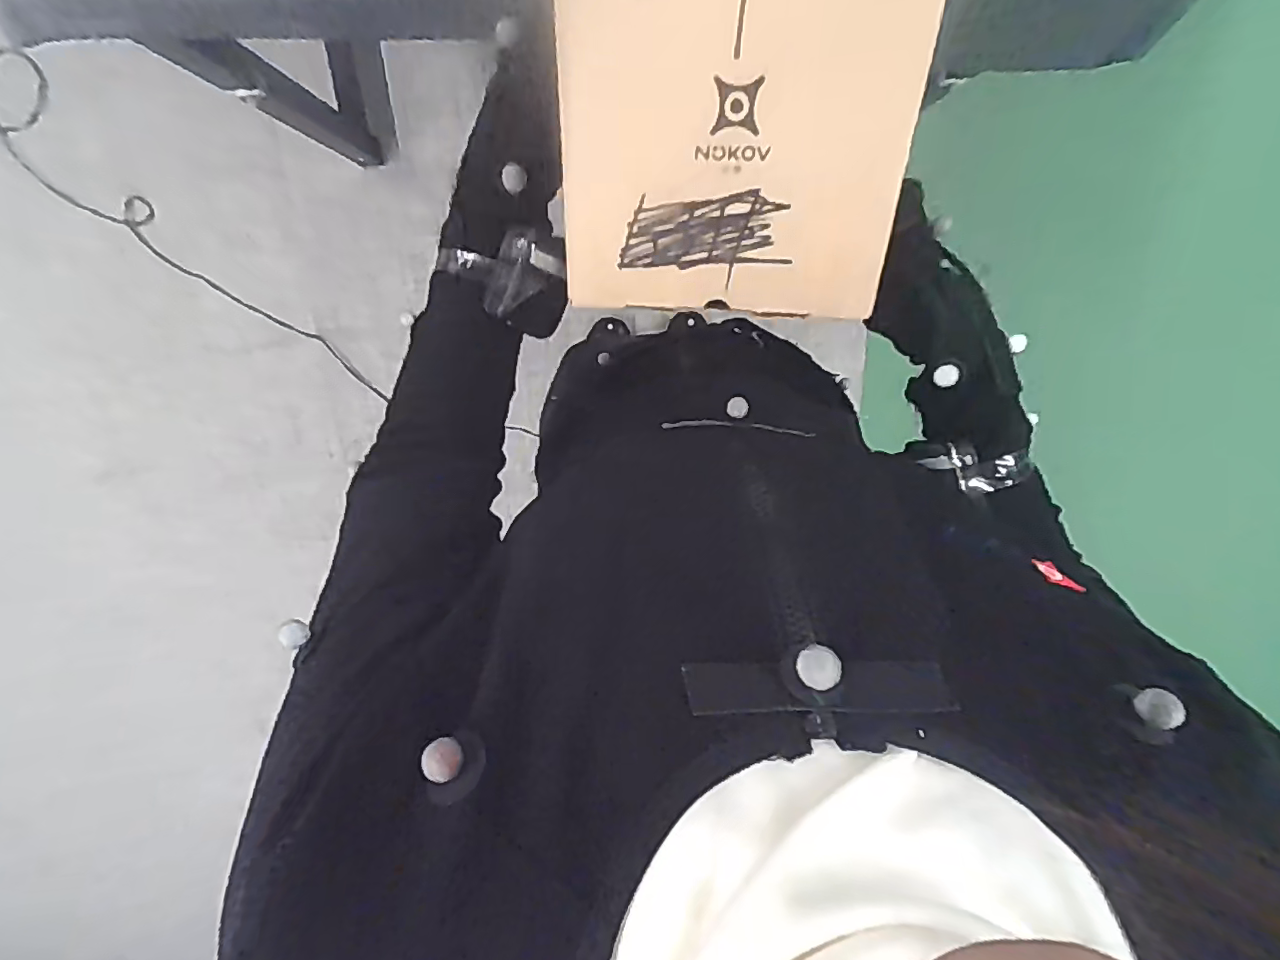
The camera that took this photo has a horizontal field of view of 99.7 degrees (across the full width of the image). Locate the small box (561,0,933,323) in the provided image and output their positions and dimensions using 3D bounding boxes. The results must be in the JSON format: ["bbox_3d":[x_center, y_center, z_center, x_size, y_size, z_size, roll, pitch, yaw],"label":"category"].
[{"bbox_3d":[0.052,-0.211,0.333,0.168,0.176,0.179,5,121,4],"label":"small box"}]
